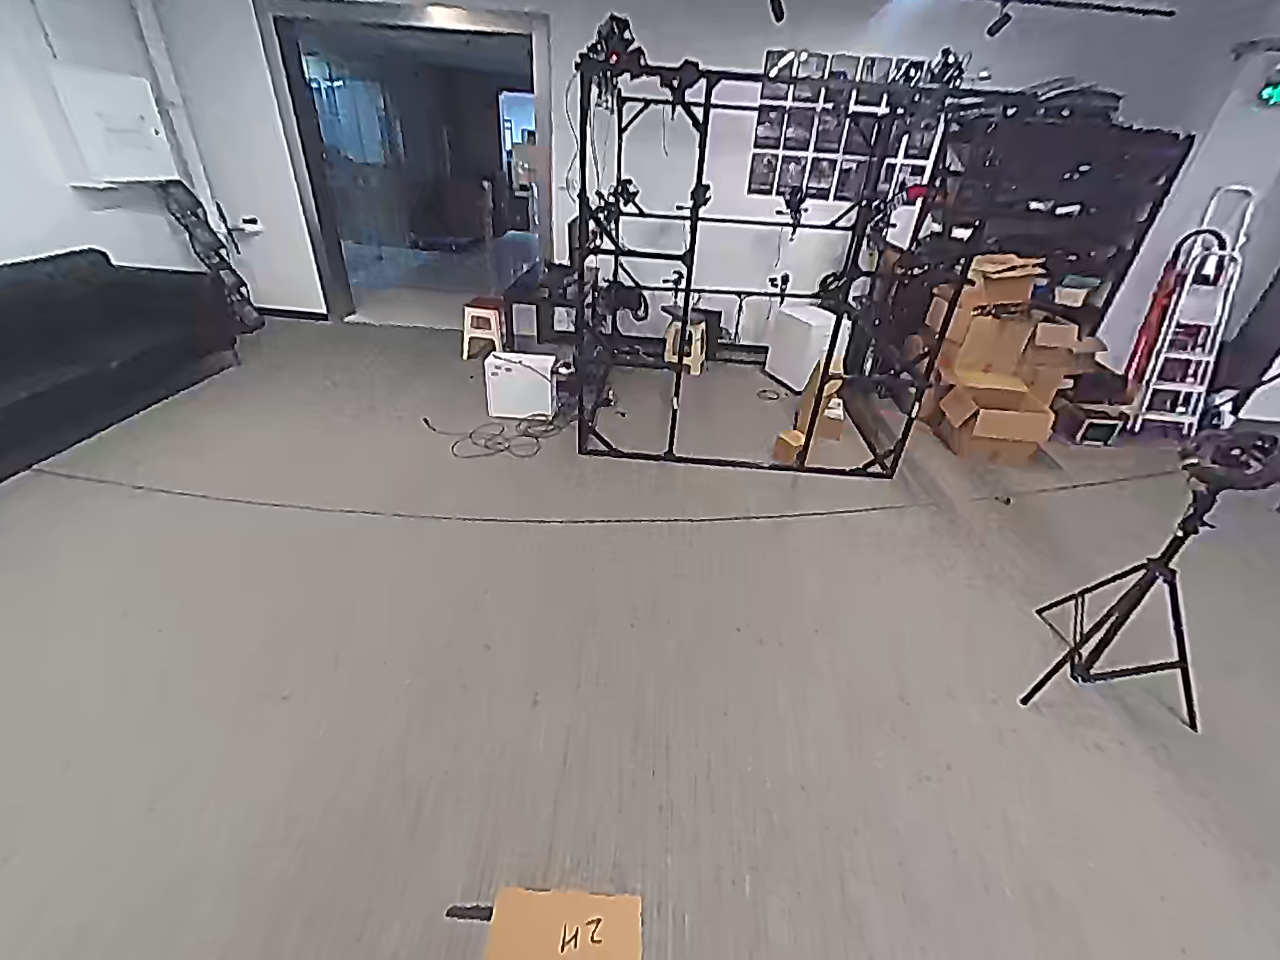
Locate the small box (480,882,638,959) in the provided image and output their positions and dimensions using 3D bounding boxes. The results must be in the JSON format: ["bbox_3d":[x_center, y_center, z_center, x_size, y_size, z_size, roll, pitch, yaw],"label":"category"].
[{"bbox_3d":[-0.096,0.579,0.590,0.168,0.176,0.179,8,34,-5],"label":"small box"}]
